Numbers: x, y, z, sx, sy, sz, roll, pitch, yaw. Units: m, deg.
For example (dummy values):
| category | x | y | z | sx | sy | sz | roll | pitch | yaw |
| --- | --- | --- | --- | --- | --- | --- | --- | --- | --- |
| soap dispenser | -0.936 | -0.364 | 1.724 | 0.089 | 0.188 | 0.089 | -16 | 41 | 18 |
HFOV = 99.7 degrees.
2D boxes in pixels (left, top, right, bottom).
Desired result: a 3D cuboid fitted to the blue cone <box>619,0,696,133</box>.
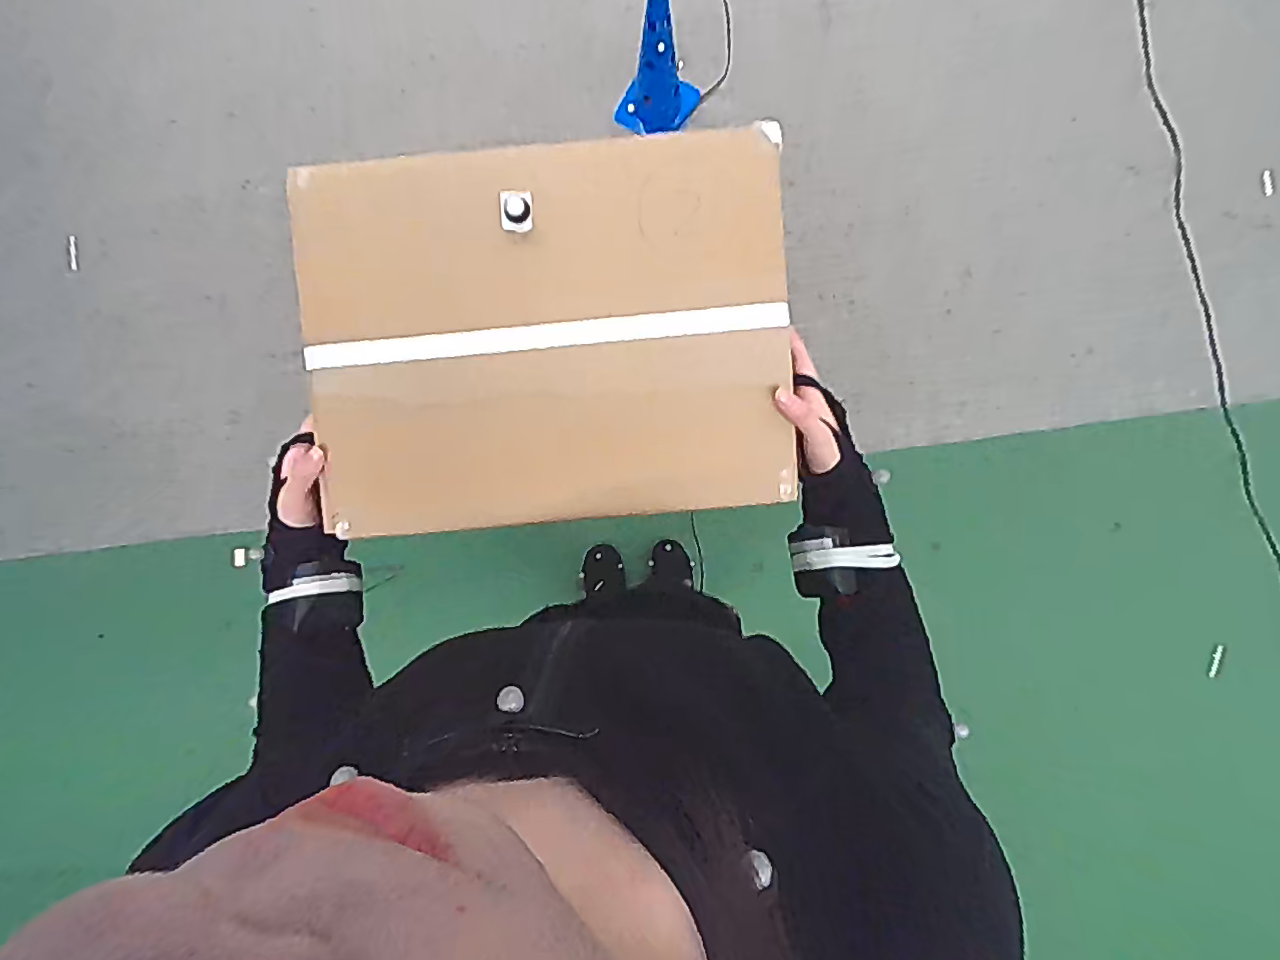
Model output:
| category | x | y | z | sx | sy | sz | roll | pitch | yaw |
| --- | --- | --- | --- | --- | --- | --- | --- | --- | --- |
| blue cone | 0.045 | -1.108 | 1.387 | 0.192 | 0.380 | 0.193 | 26 | 89 | 3 |
